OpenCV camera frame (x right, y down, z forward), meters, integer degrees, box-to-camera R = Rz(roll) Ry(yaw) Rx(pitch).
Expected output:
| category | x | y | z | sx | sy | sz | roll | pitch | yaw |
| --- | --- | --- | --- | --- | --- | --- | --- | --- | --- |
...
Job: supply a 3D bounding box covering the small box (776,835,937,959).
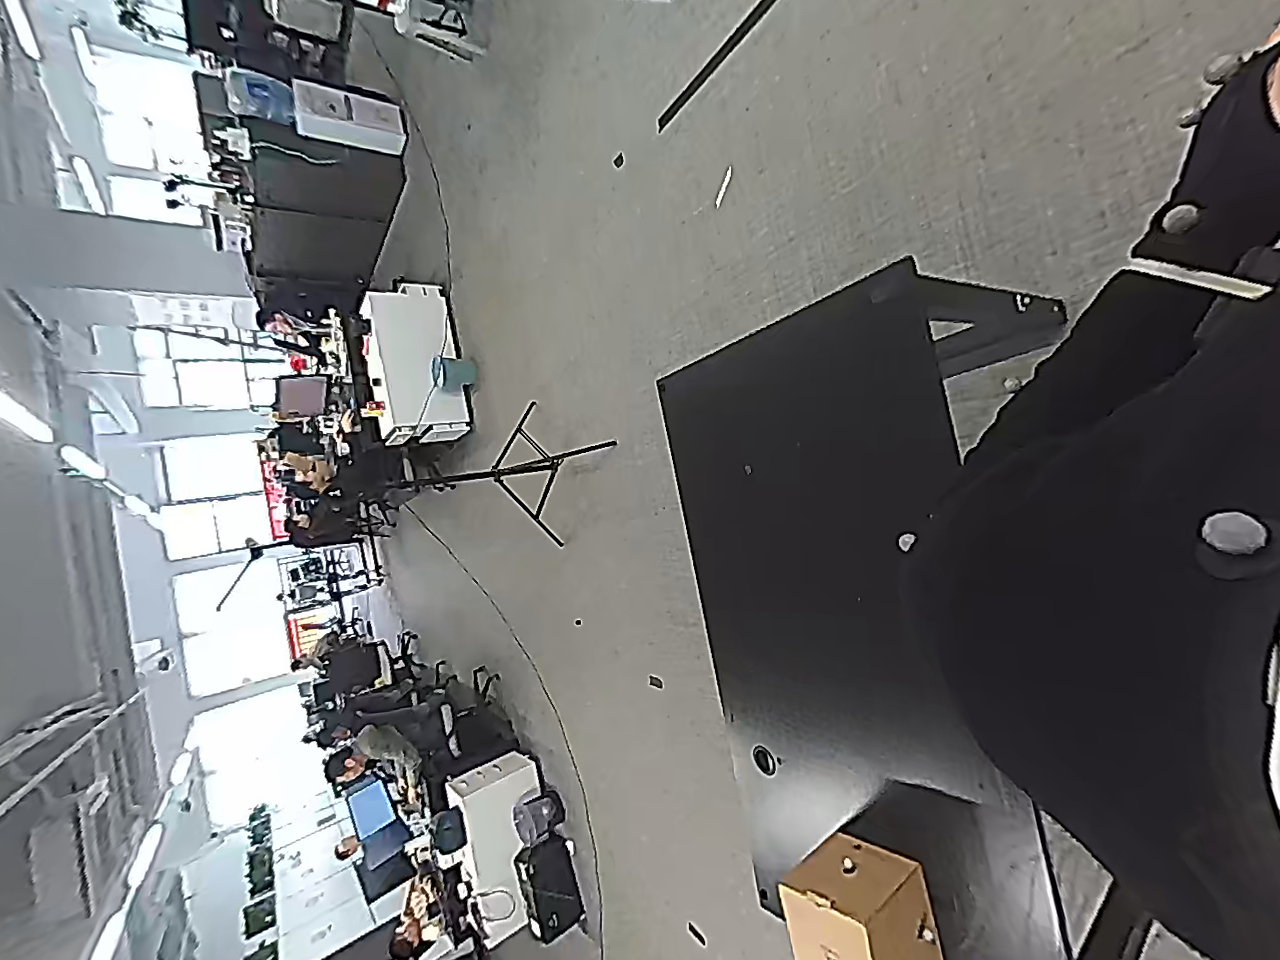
| category | x | y | z | sx | sy | sz | roll | pitch | yaw |
| --- | --- | --- | --- | --- | --- | --- | --- | --- | --- |
| small box | 0.357 | 0.731 | 0.890 | 0.168 | 0.176 | 0.179 | -18 | 82 | 53 |
